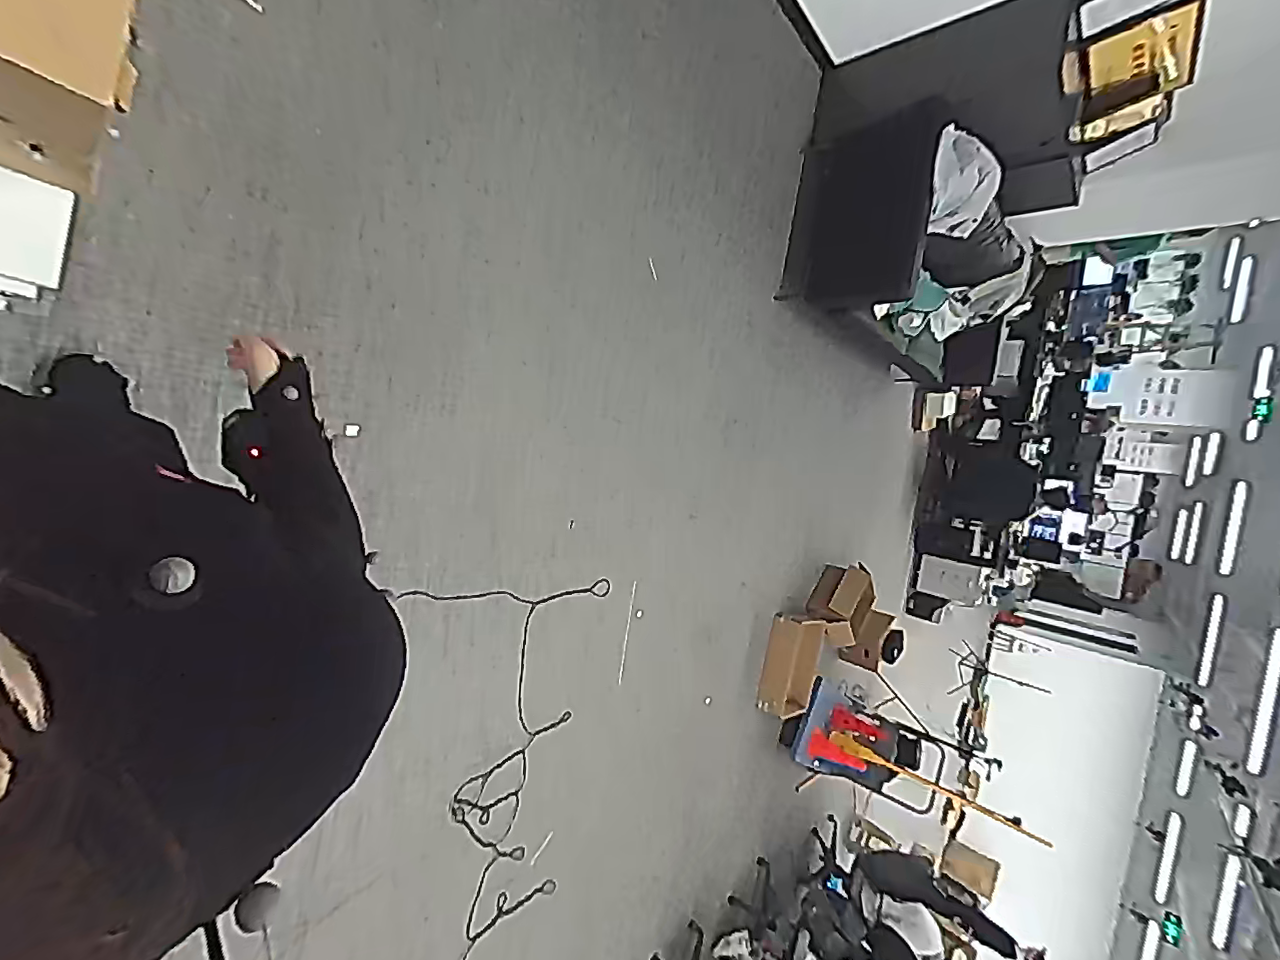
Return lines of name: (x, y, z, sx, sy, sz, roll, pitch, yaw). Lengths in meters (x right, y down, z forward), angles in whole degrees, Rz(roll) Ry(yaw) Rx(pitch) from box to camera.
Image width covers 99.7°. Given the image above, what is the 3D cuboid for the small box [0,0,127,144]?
small box: (-0.505, -0.395, 0.406, 0.168, 0.176, 0.179, 12, 89, -50)
